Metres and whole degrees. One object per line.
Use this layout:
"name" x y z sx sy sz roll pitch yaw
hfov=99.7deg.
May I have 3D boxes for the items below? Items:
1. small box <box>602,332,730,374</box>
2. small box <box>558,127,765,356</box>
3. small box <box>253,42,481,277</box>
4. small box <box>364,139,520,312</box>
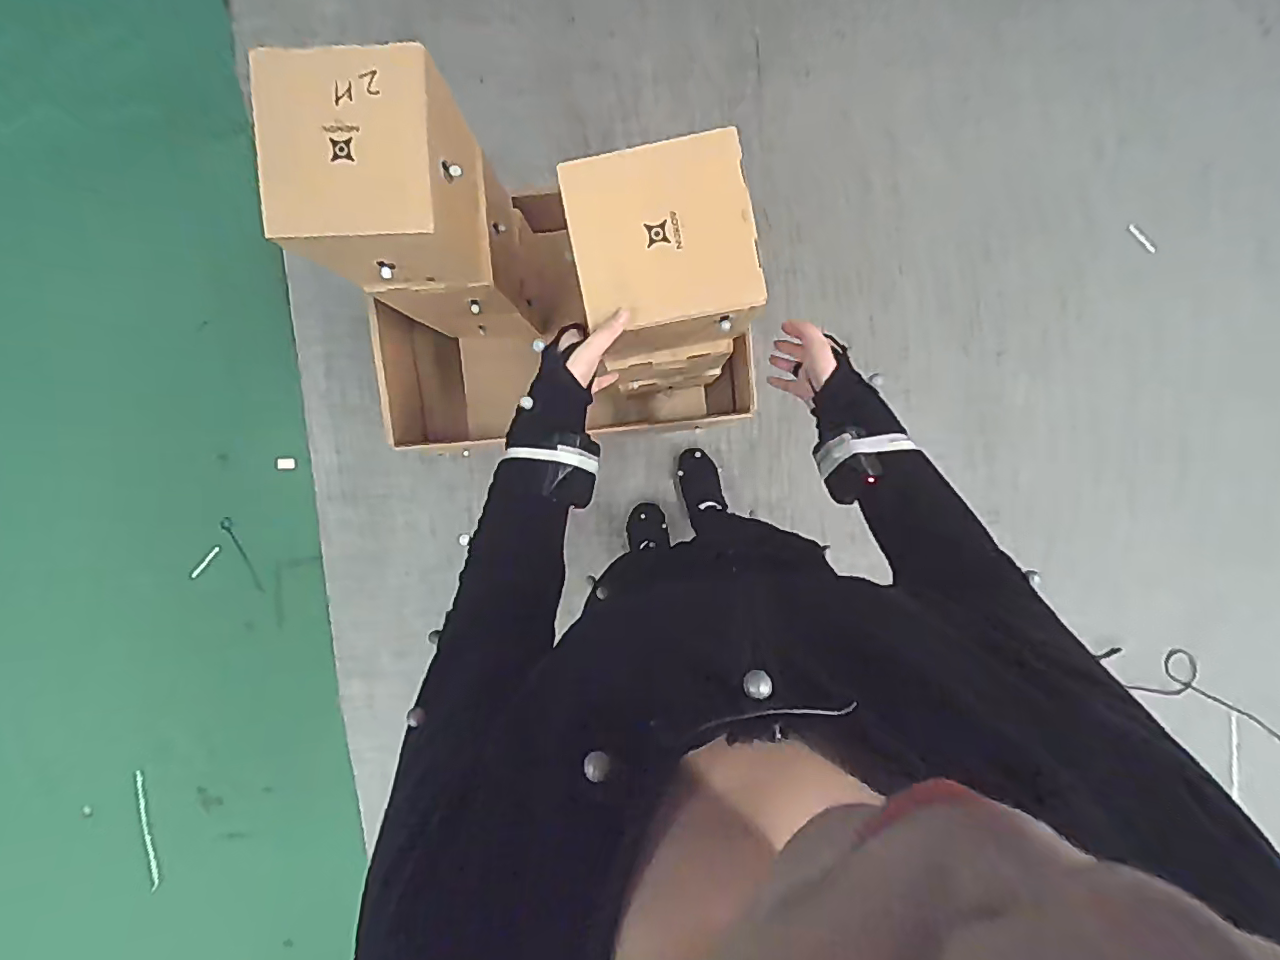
"small box" 0.027 -0.246 0.755 0.168 0.176 0.179 -8 95 2
"small box" 0.023 -0.242 0.594 0.179 0.176 0.168 -11 94 1
"small box" -0.279 -0.329 0.593 0.168 0.176 0.179 -1 95 -1
"small box" -0.271 -0.339 0.756 0.168 0.176 0.179 -3 94 0
